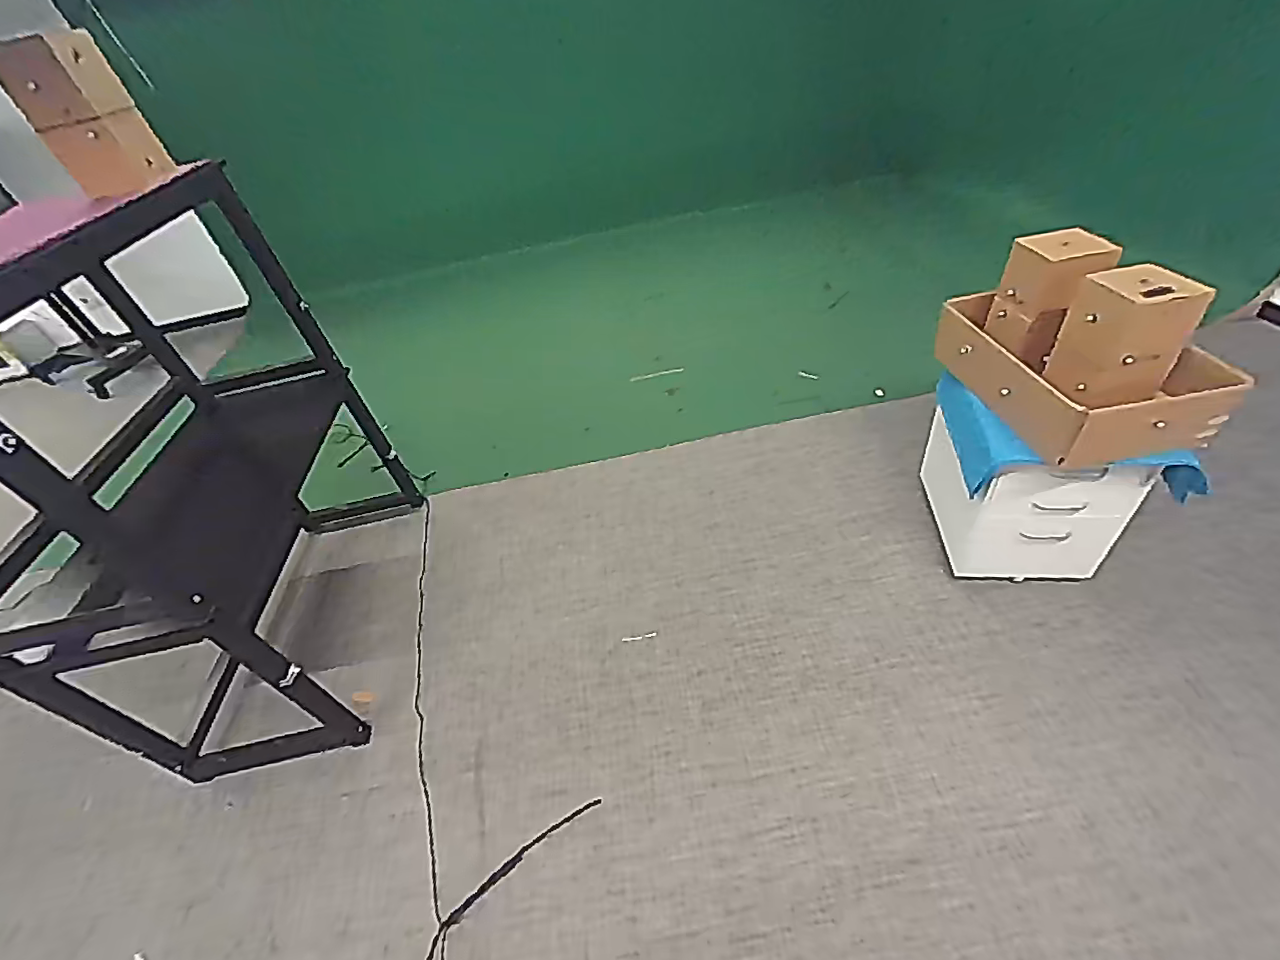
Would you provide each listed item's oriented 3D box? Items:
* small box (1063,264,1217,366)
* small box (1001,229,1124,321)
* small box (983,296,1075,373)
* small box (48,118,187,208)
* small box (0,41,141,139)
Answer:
[{"bbox_3d":[1.150,-0.378,1.262,0.168,0.176,0.179,-10,41,0],"label":"small box"},{"bbox_3d":[1.127,-0.552,1.460,0.179,0.176,0.168,-10,42,1],"label":"small box"},{"bbox_3d":[1.145,-0.432,1.569,0.179,0.176,0.168,-9,42,1],"label":"small box"},{"bbox_3d":[-1.418,-0.867,1.483,0.179,0.176,0.168,-12,42,1],"label":"small box"},{"bbox_3d":[-1.437,-0.984,1.368,0.168,0.176,0.179,-12,42,0],"label":"small box"}]
